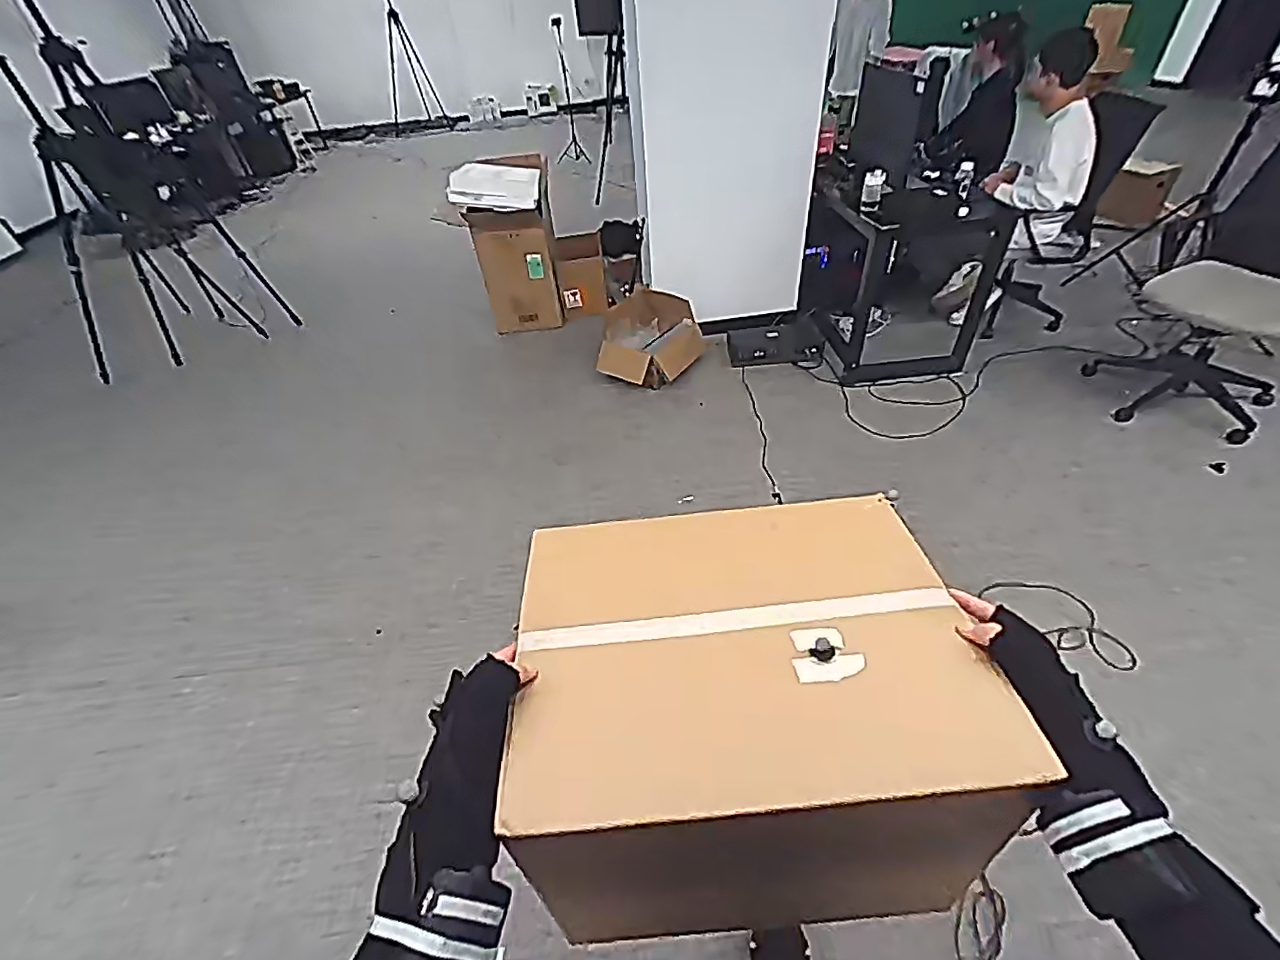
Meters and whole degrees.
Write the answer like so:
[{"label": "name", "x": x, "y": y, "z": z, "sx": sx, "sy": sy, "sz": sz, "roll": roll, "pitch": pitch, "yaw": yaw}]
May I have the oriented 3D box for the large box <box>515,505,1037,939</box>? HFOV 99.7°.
[{"label": "large box", "x": 0.103, "y": 0.260, "z": 0.608, "sx": 0.408, "sy": 0.320, "sz": 0.320, "roll": -6, "pitch": 38, "yaw": 0}]
